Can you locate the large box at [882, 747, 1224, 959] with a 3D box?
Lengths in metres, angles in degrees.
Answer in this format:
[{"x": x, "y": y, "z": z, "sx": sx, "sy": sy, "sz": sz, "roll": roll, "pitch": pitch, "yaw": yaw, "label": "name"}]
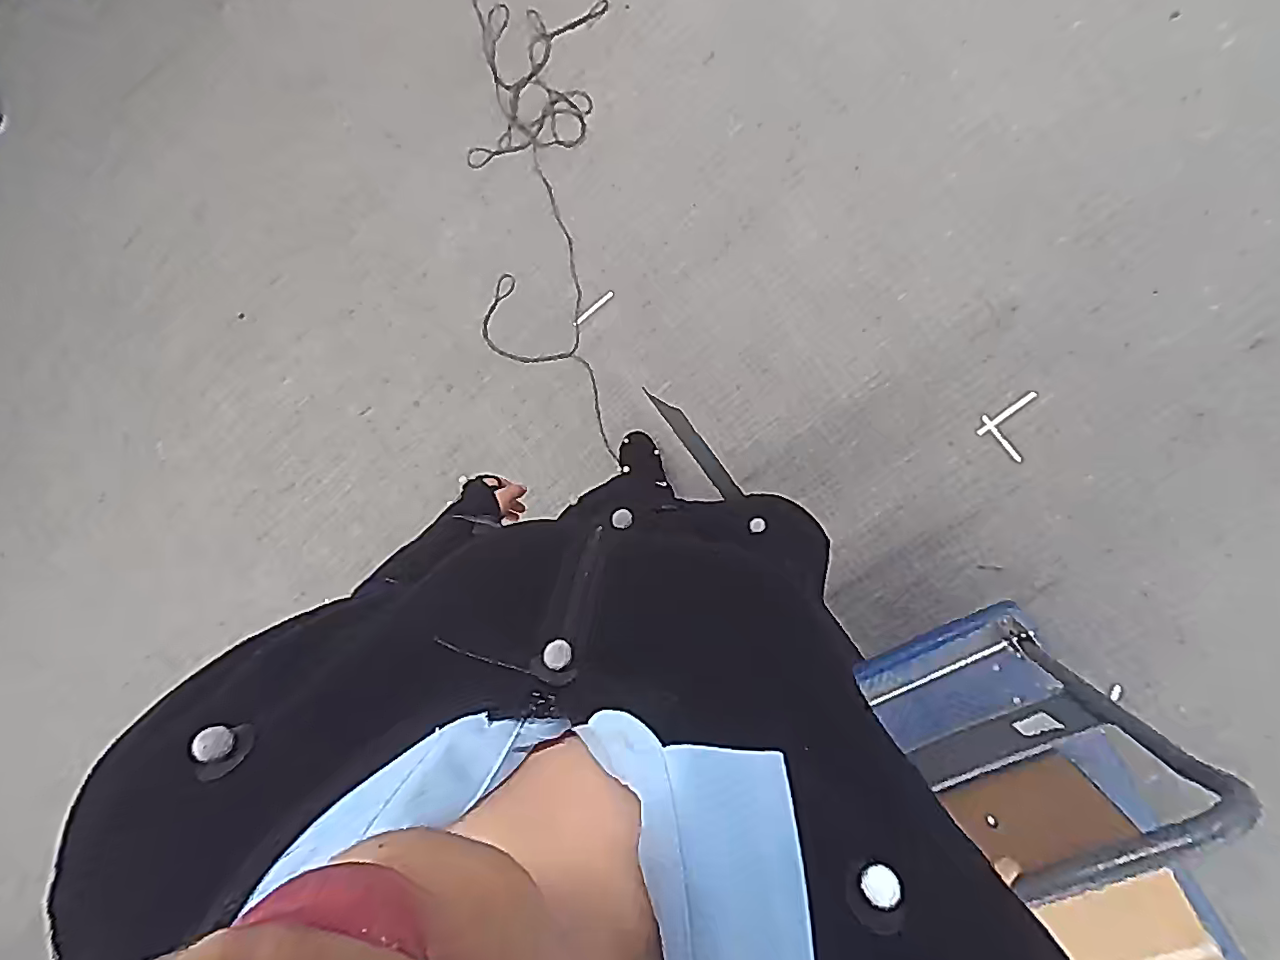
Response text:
[{"x": 0.757, "y": 0.799, "z": 1.042, "sx": 0.408, "sy": 0.320, "sz": 0.320, "roll": -29, "pitch": 87, "yaw": 12, "label": "large box"}]
